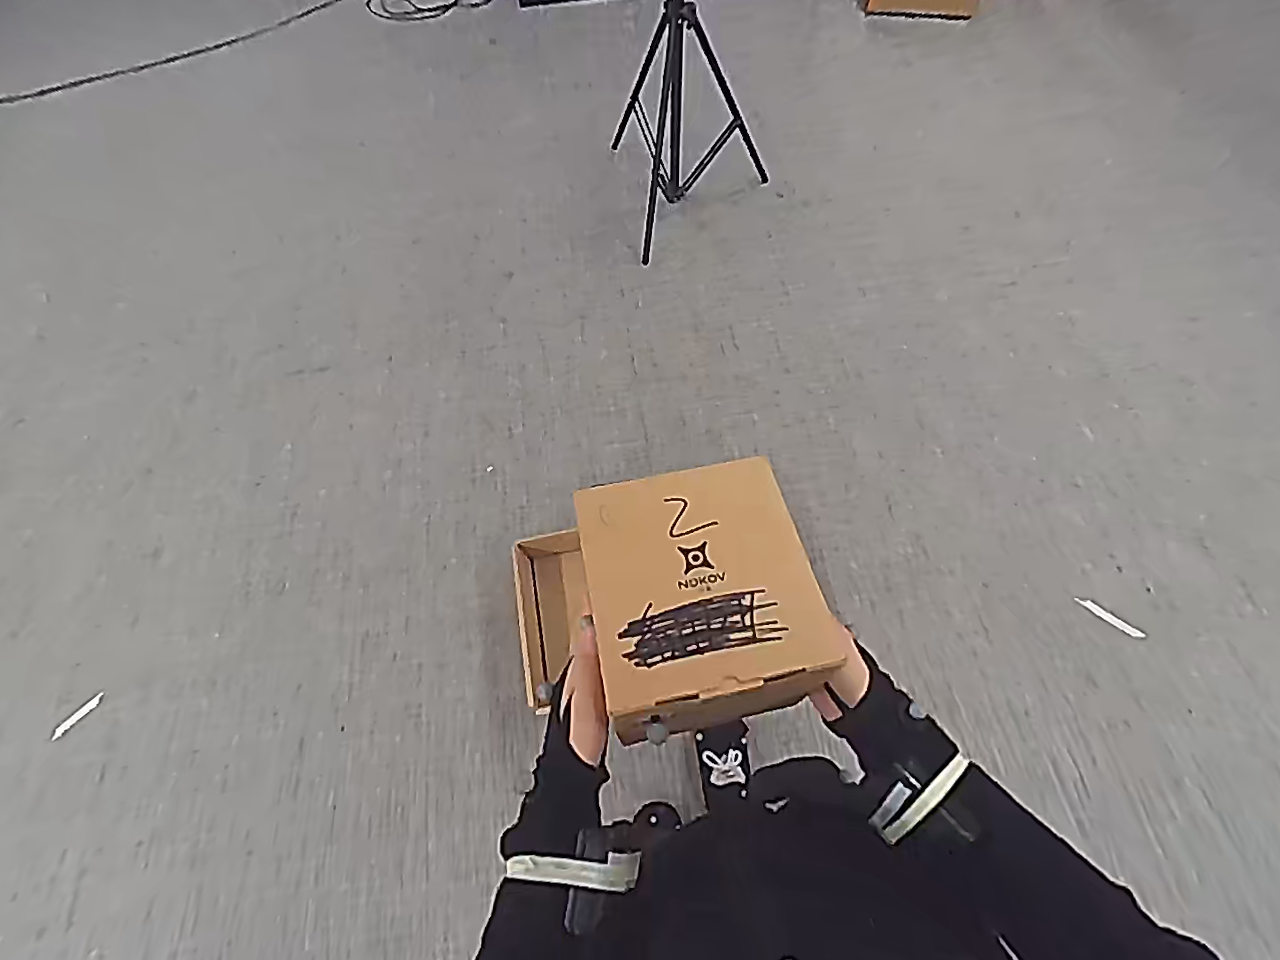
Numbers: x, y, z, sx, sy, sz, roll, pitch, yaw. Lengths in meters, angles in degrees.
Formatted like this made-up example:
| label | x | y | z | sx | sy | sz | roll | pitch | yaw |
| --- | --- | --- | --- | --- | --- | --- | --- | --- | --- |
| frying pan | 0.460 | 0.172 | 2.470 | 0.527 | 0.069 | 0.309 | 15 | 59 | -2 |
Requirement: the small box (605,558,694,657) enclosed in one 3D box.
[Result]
| label | x | y | z | sx | sy | sz | roll | pitch | yaw |
| --- | --- | --- | --- | --- | --- | --- | --- | --- | --- |
| small box | 0.022 | 0.308 | 1.290 | 0.168 | 0.176 | 0.179 | -17 | 68 | -4 |
